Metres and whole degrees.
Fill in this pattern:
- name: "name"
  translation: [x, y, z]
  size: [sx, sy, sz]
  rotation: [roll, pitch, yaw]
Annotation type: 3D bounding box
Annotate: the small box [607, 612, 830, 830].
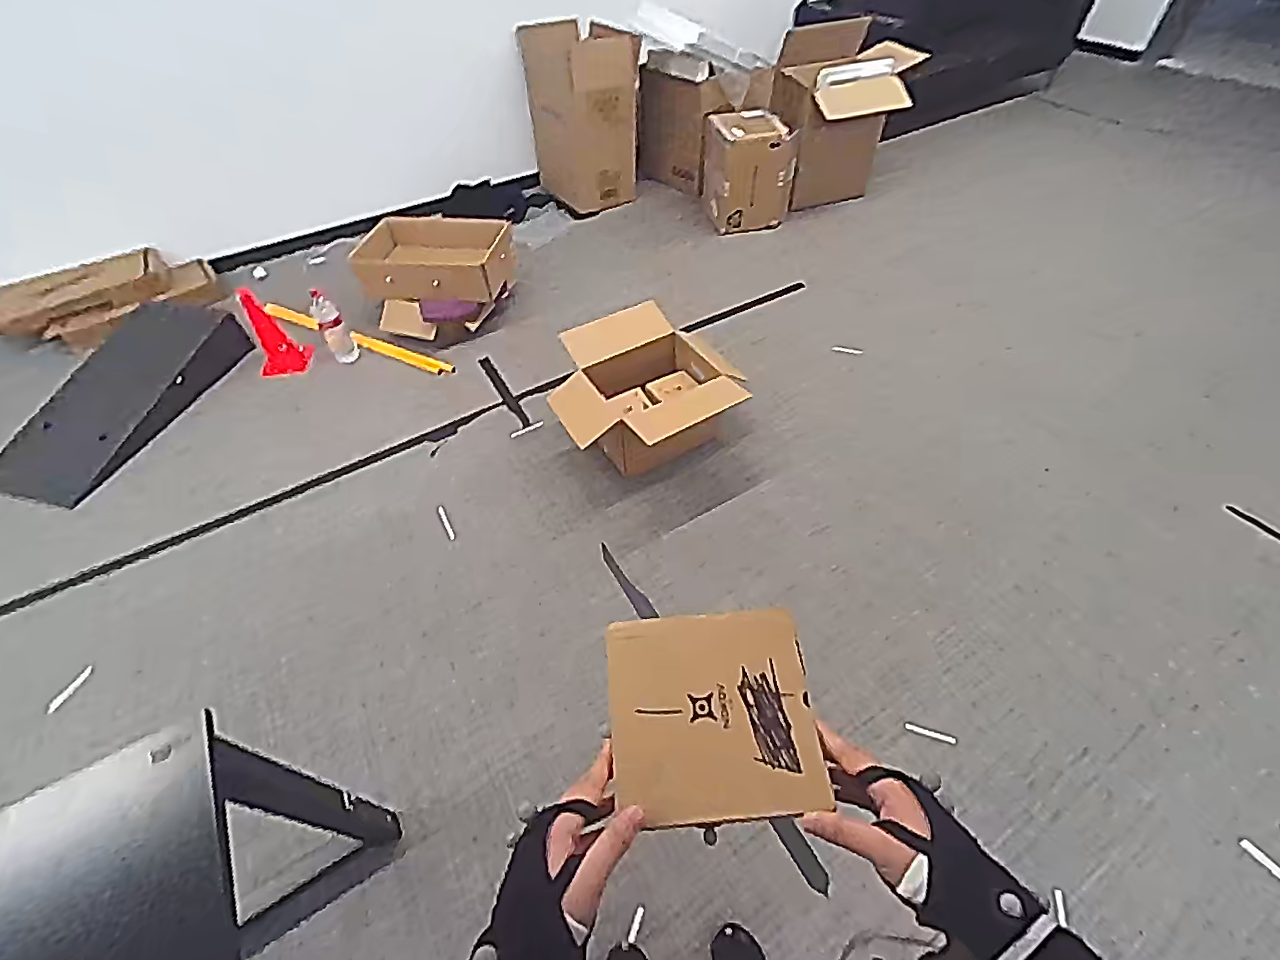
- name: "small box"
  translation: [0.060, 0.240, 0.532]
  size: [0.179, 0.176, 0.168]
  rotation: [-4, 57, -1]
